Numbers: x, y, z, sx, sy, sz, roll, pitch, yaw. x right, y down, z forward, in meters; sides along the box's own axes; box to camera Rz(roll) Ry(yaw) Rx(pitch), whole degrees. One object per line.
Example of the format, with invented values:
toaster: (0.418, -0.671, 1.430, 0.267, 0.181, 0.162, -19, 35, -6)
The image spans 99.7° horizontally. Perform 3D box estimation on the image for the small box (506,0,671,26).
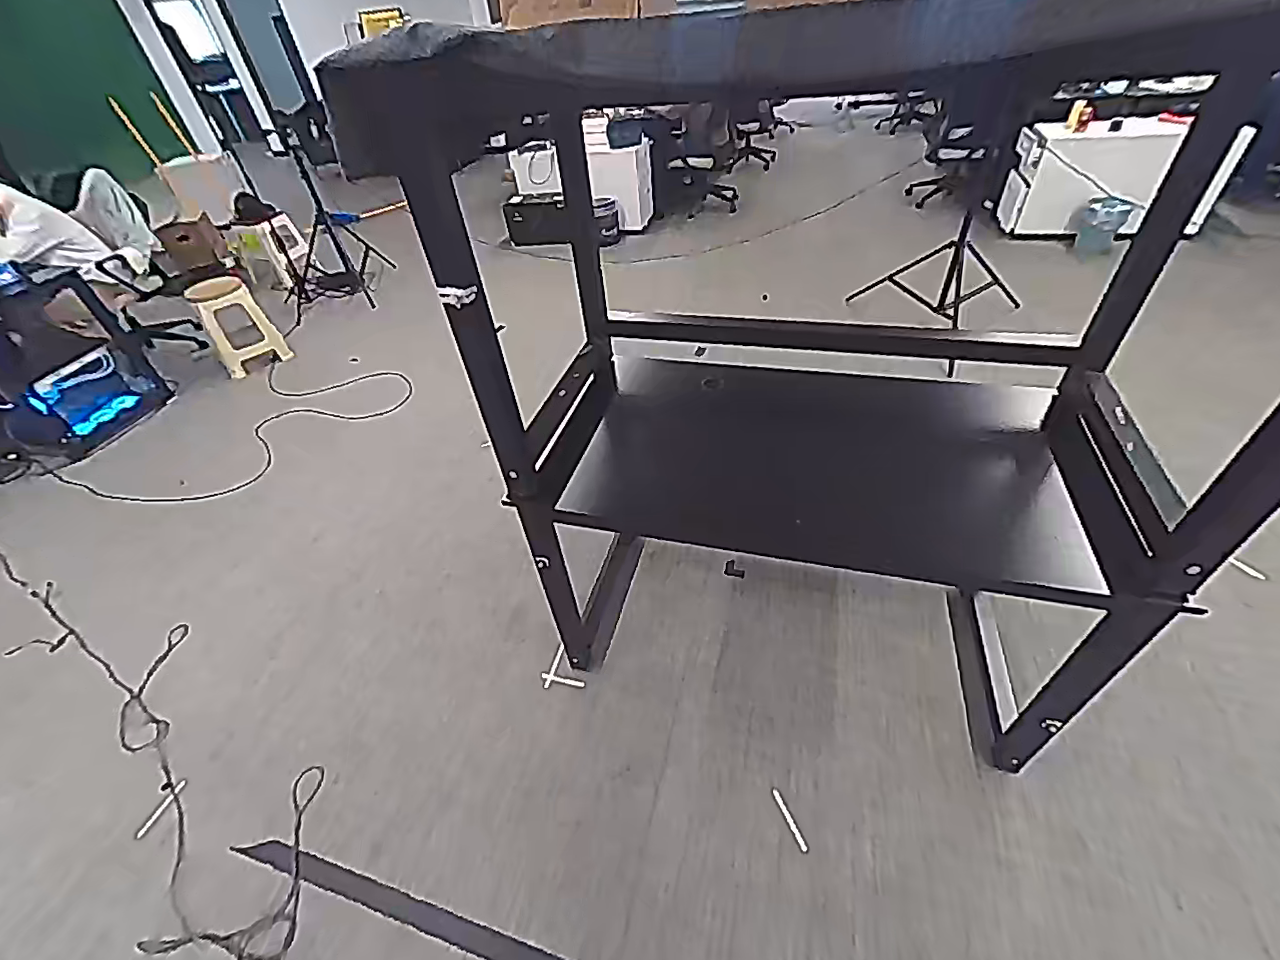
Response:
small box: (-0.059, -0.617, 0.600, 0.168, 0.176, 0.179, 8, 43, 14)
